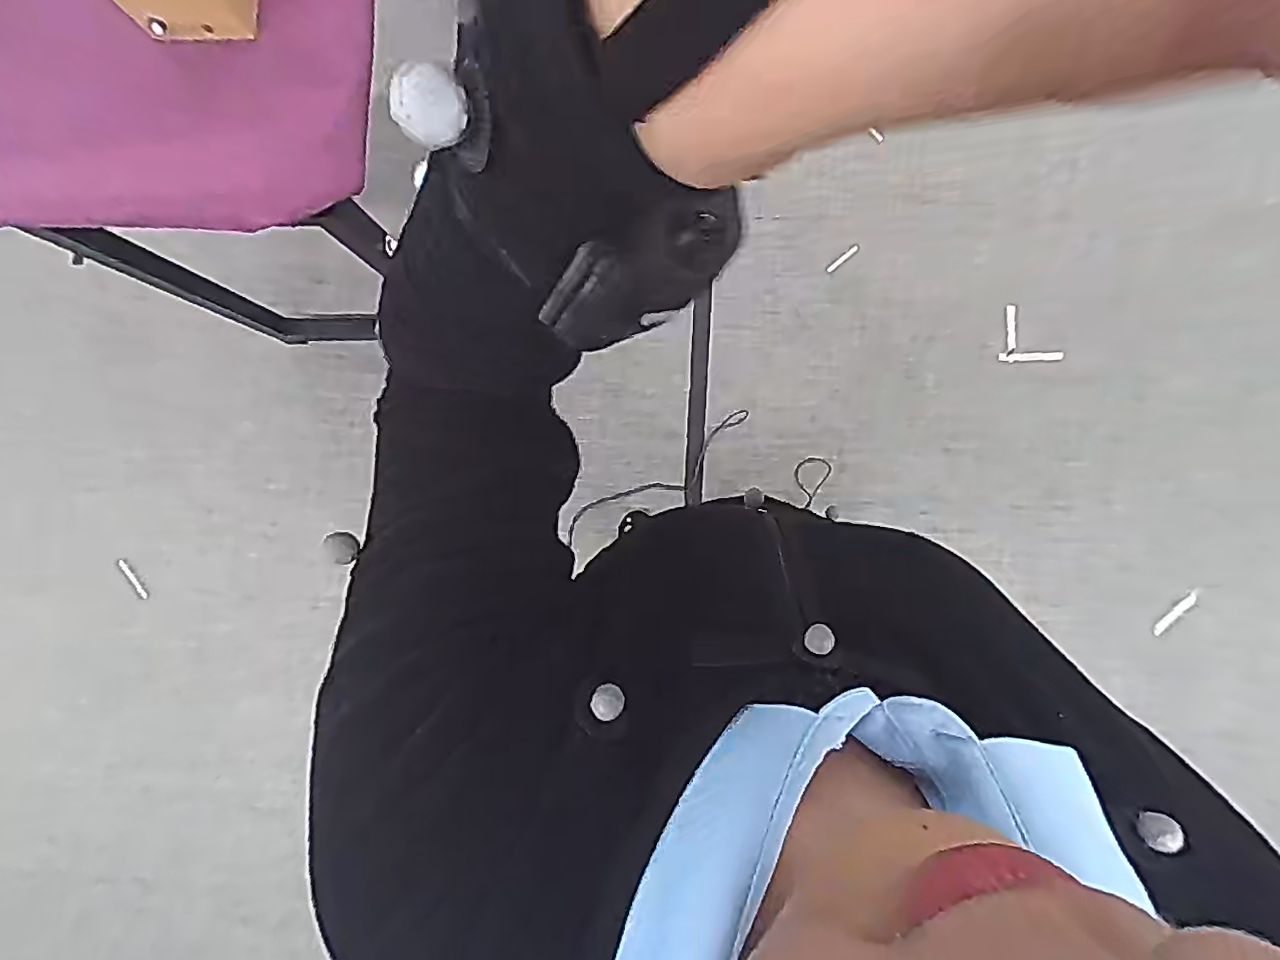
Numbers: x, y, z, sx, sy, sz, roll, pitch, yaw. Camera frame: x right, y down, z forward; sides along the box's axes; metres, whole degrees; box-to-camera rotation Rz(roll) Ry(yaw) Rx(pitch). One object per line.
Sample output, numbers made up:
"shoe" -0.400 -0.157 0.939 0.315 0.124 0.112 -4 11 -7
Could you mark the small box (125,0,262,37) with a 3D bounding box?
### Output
"small box" -0.670 -0.776 0.768 0.168 0.176 0.179 2 87 2
